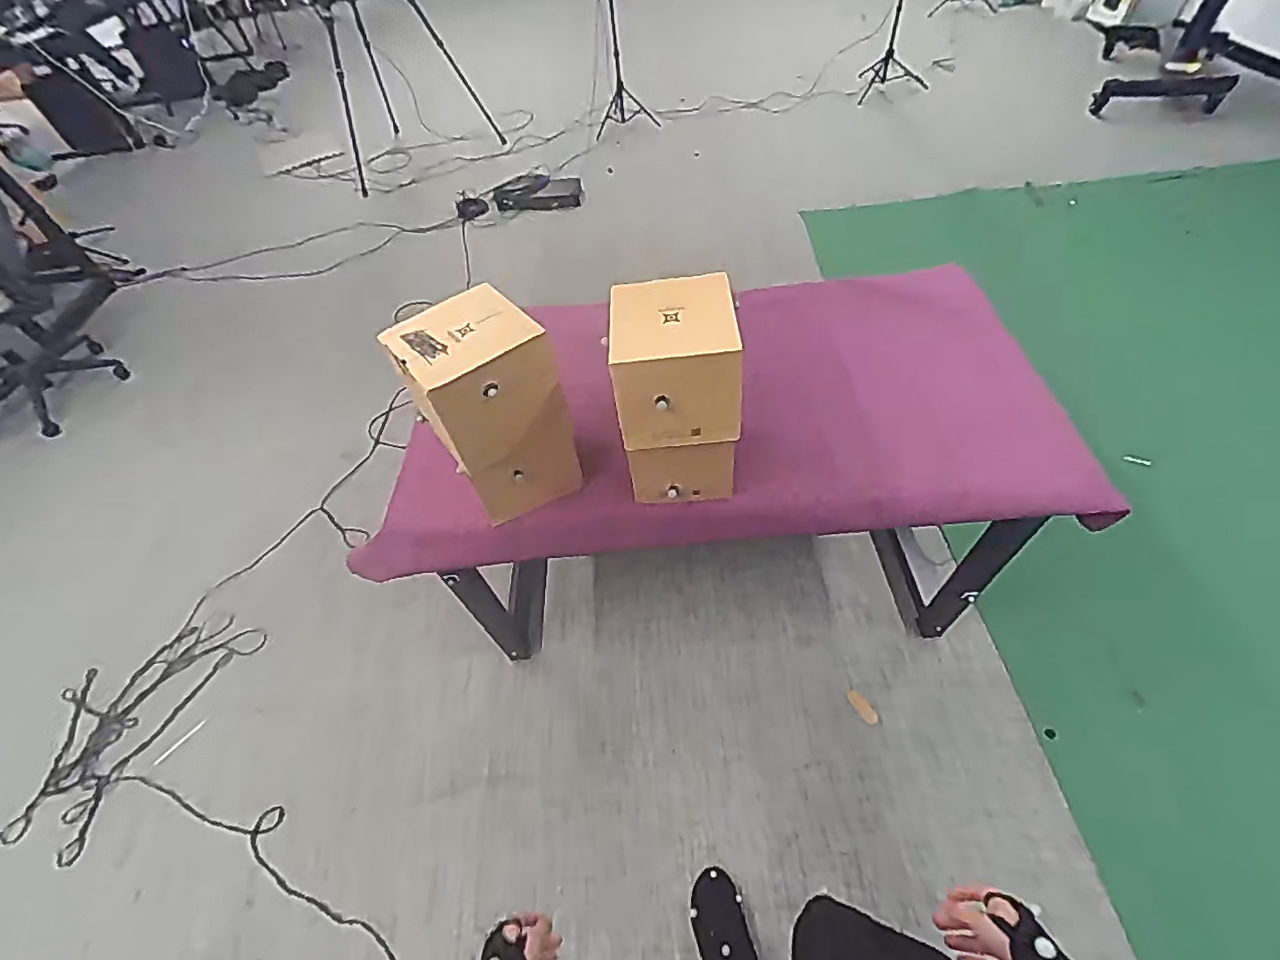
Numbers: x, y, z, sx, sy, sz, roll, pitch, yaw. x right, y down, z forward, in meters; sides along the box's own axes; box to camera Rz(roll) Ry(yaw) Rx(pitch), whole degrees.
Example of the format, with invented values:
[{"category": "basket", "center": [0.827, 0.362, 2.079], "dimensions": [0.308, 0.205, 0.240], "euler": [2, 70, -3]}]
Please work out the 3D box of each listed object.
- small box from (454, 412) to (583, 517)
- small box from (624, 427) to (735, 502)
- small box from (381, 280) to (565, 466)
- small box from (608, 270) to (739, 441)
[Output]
[{"category": "small box", "center": [-0.215, -0.064, 0.925], "dimensions": [0.179, 0.176, 0.168], "euler": [-24, 54, -12]}, {"category": "small box", "center": [0.065, -0.083, 0.909], "dimensions": [0.168, 0.176, 0.179], "euler": [-4, 52, 4]}, {"category": "small box", "center": [-0.231, -0.152, 0.785], "dimensions": [0.179, 0.176, 0.168], "euler": [-34, 56, -20]}, {"category": "small box", "center": [0.051, -0.168, 0.770], "dimensions": [0.168, 0.176, 0.179], "euler": [-5, 51, 5]}]
